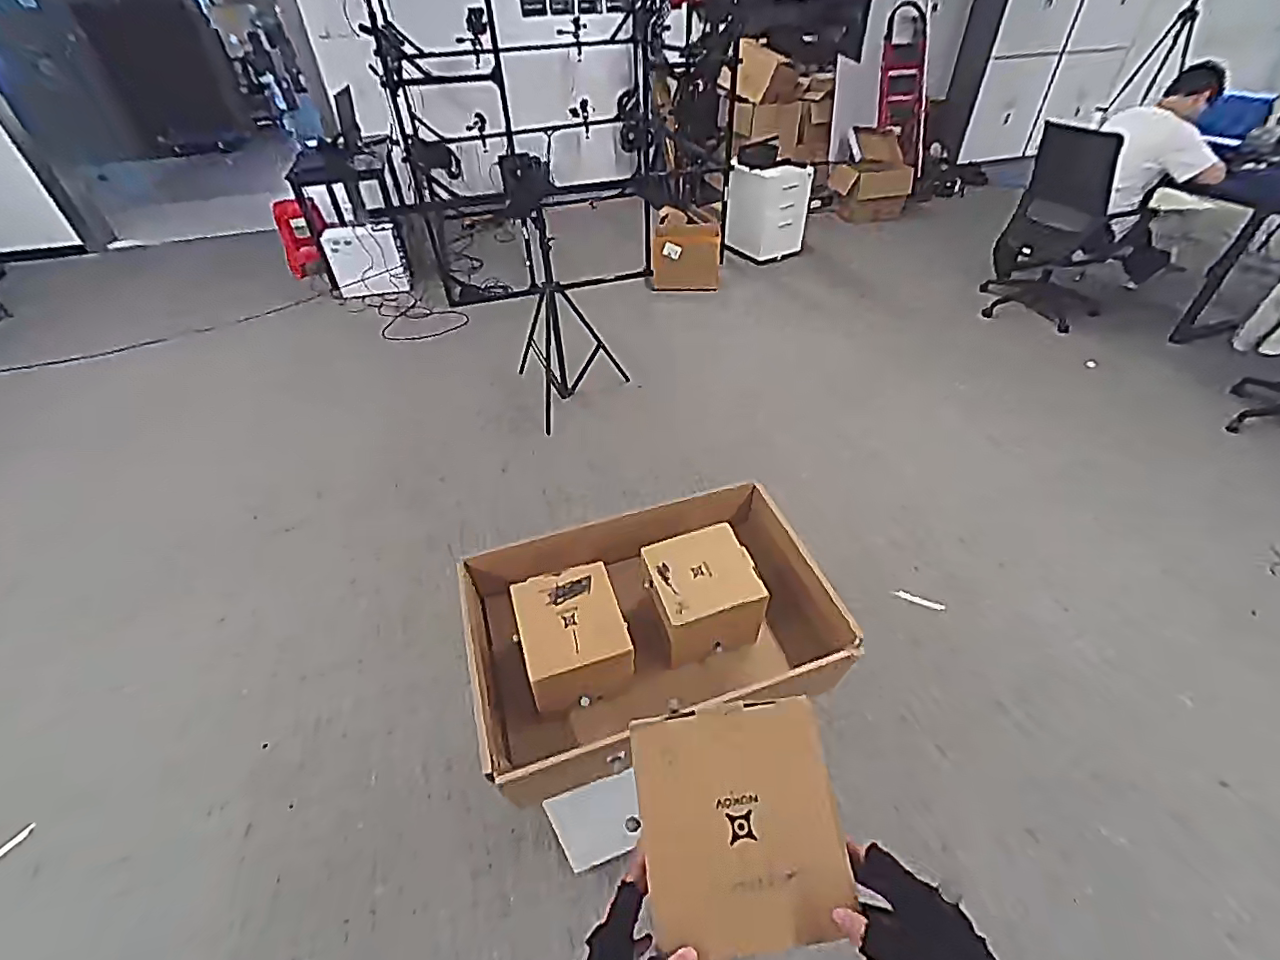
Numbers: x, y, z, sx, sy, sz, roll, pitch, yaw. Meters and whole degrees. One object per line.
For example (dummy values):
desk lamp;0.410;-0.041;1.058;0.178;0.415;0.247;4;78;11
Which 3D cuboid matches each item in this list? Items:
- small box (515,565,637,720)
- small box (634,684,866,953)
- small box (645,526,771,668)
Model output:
small box;-0.111;0.281;0.933;0.168;0.176;0.179;-14;49;-13
small box;0.085;0.306;0.524;0.168;0.176;0.179;-8;67;-3
small box;0.115;0.216;0.994;0.179;0.176;0.168;-15;48;-12
